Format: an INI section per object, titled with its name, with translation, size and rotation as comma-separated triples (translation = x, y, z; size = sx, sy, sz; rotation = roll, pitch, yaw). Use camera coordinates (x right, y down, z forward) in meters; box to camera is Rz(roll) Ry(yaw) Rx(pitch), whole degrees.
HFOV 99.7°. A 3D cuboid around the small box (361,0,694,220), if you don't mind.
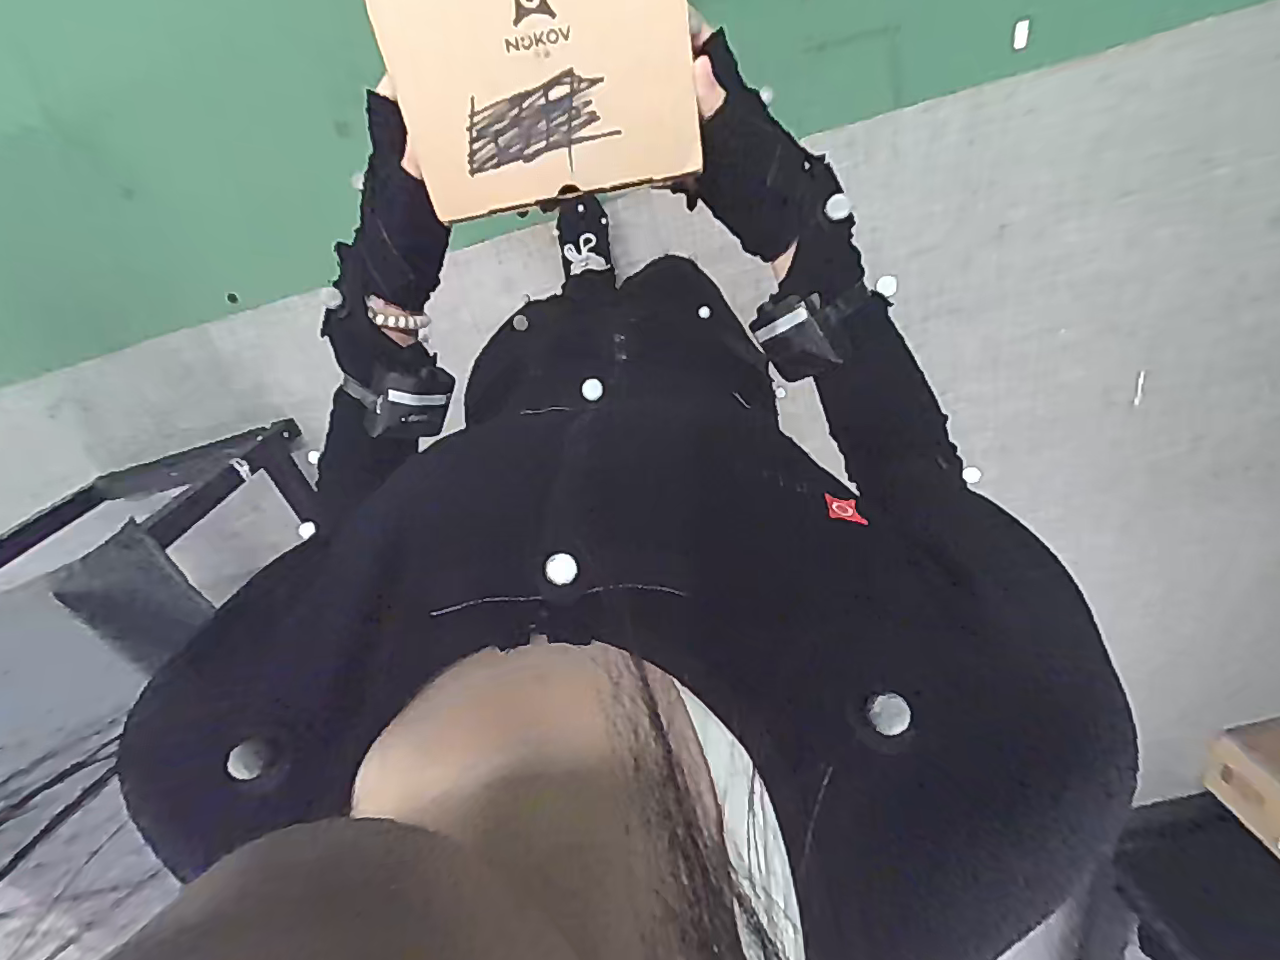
[small box]
translation = -0.064, -0.287, 0.349
size = 0.168, 0.176, 0.179
rotation = -11, 122, 2
